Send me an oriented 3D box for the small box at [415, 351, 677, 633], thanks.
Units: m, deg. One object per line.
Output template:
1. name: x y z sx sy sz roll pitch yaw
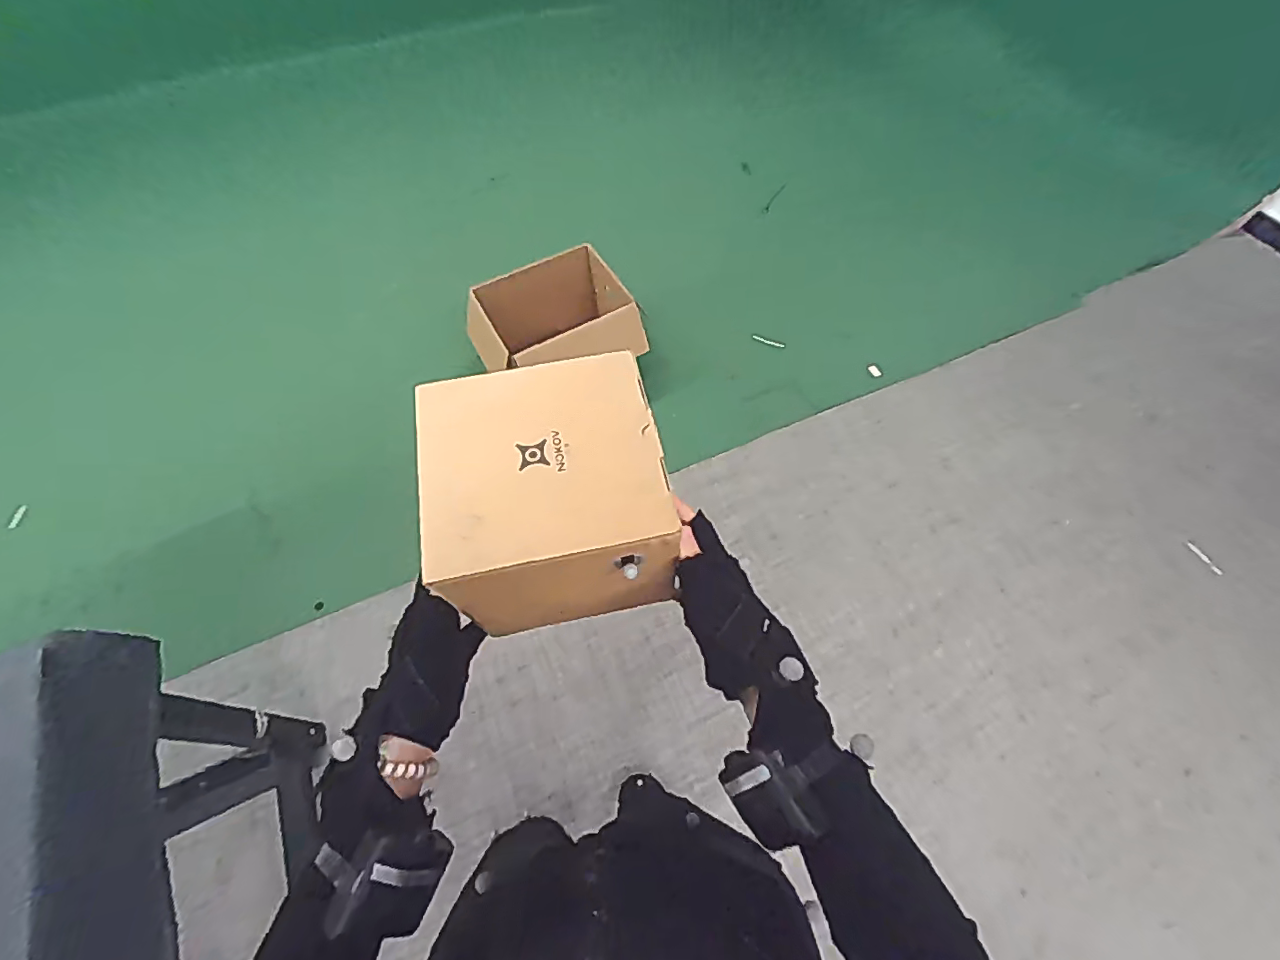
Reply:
1. small box: -0.073 0.019 0.463 0.179 0.176 0.168 -11 62 -6
